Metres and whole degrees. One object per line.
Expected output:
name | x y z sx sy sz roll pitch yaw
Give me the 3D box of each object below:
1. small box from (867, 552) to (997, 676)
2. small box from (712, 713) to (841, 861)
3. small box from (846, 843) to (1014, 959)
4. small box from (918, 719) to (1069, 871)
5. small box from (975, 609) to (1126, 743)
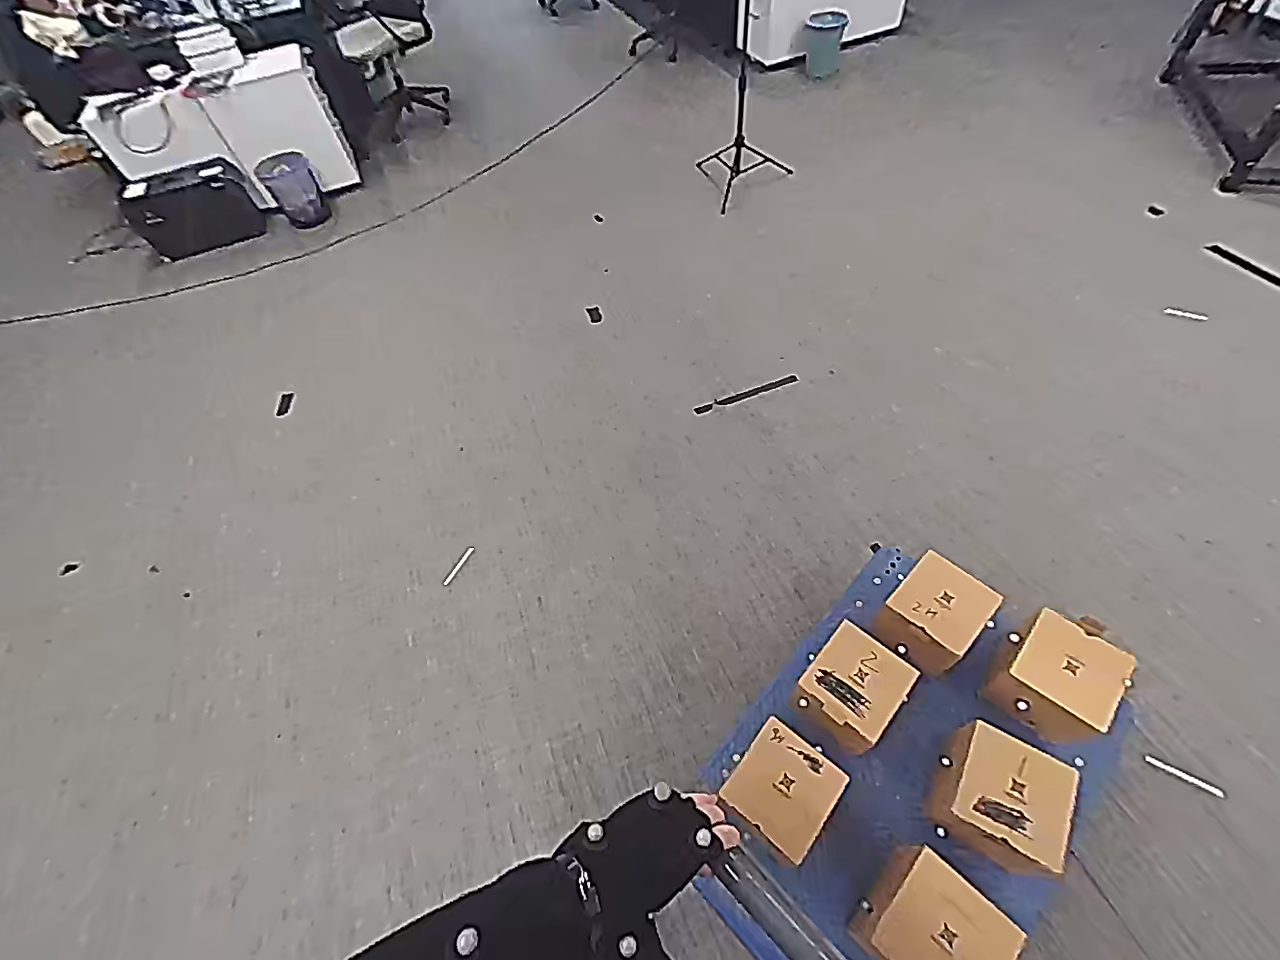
small box | 0.630 0.298 1.190 0.179 0.176 0.168 -40 61 -19
small box | 0.254 0.587 1.034 0.168 0.176 0.179 35 66 25
small box | 0.468 0.748 0.903 0.179 0.176 0.168 -40 62 -20
small box | 0.639 0.581 0.997 0.168 0.176 0.179 26 61 22
small box | 0.820 0.403 1.100 0.168 0.176 0.179 35 66 26
